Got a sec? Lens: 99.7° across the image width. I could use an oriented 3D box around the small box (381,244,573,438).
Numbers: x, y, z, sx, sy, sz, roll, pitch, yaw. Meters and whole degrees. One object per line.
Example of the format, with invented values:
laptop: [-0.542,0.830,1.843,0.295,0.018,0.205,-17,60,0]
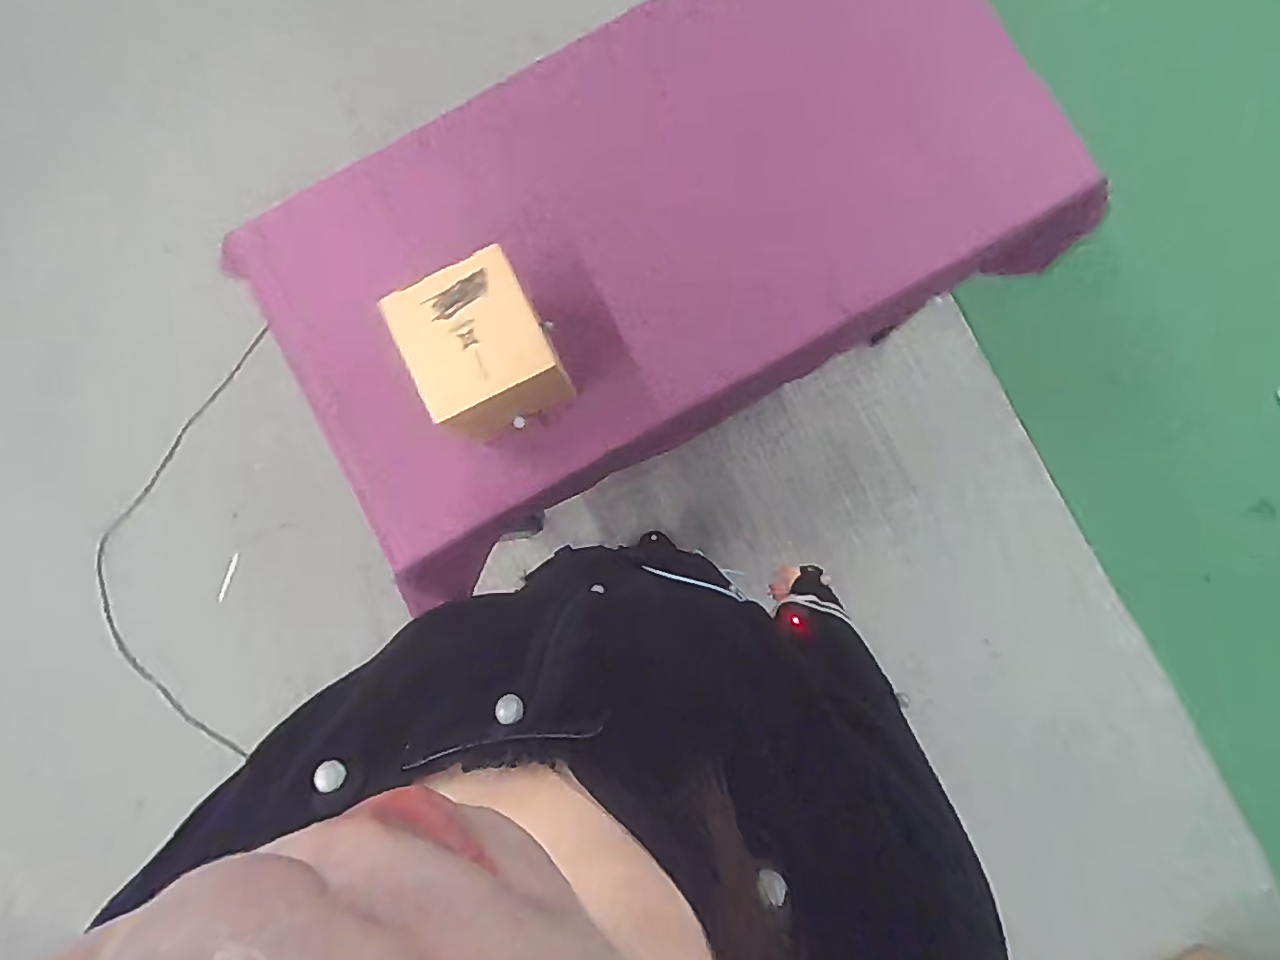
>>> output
small box: [-0.208,-0.175,0.737,0.168,0.176,0.179,-26,86,0]
